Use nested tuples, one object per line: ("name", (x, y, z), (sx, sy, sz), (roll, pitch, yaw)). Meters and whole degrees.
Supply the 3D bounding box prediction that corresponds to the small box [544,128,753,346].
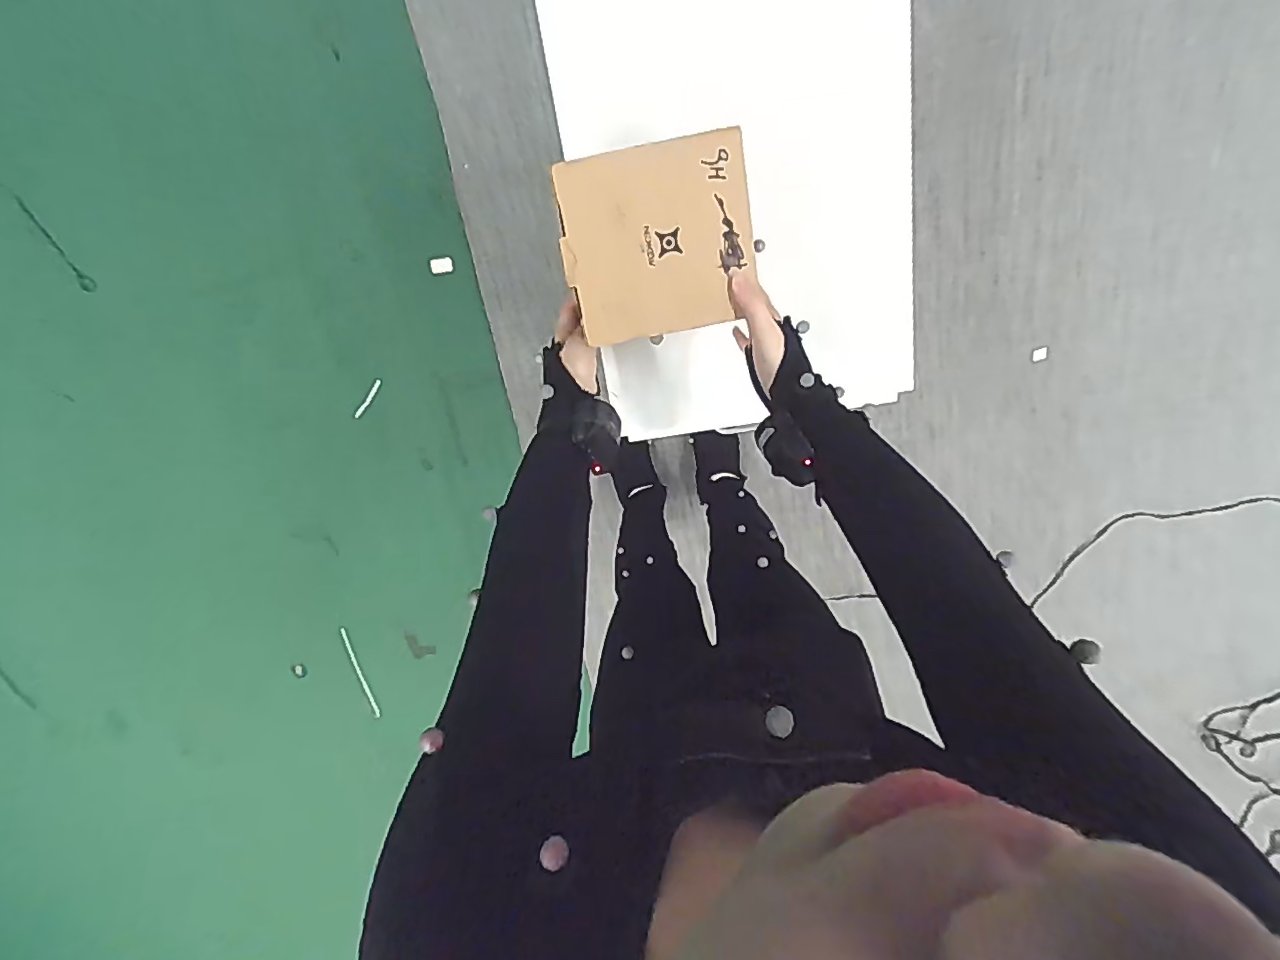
("small box", (0.013, -0.244, 0.578), (0.179, 0.176, 0.168), (-10, 108, 4))
